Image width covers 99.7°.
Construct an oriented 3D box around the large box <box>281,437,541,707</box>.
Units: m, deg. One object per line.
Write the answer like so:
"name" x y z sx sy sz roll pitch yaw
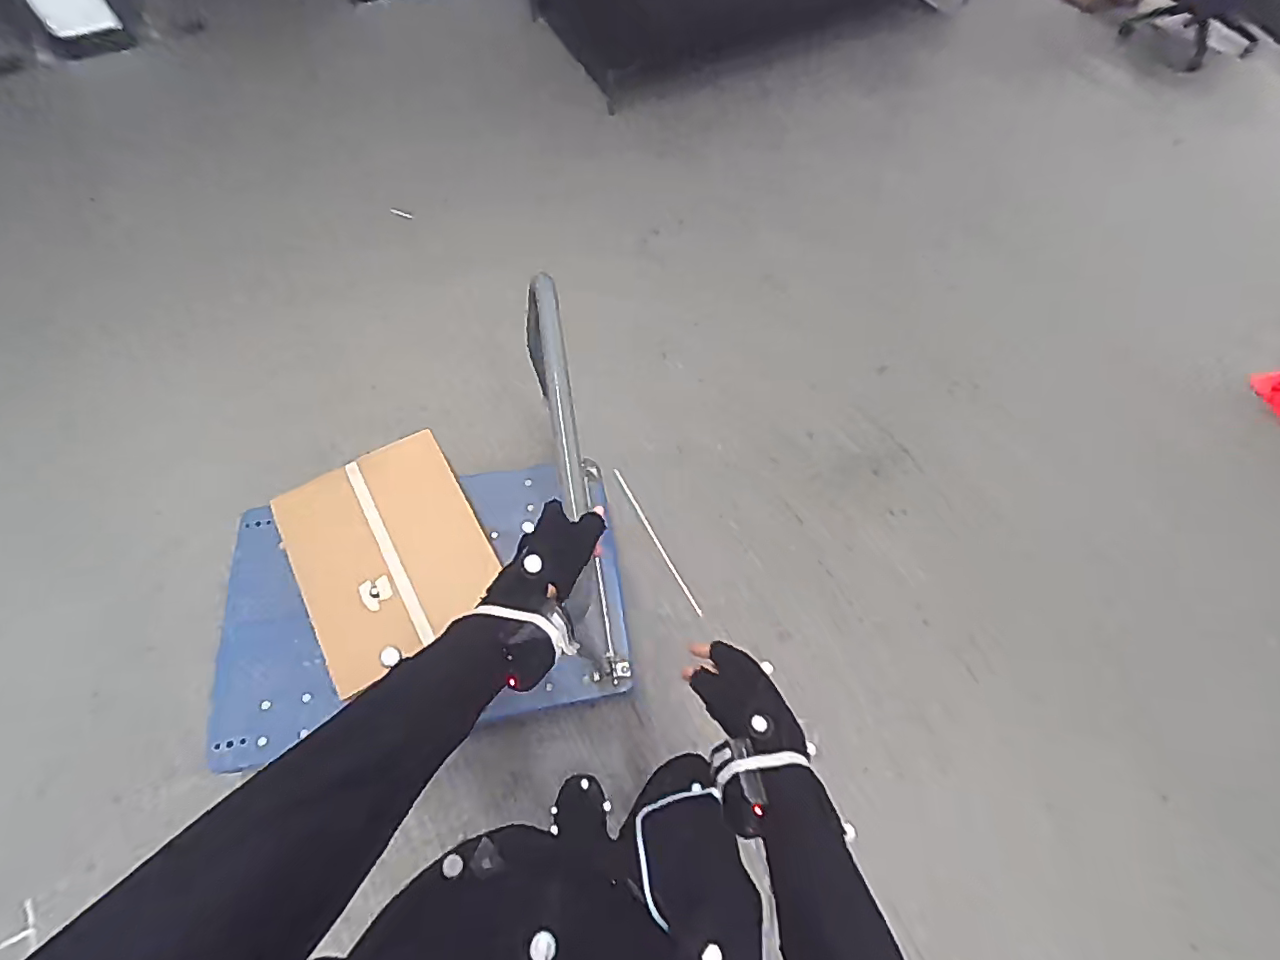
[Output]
"large box" -0.445 0.195 1.112 0.320 0.320 0.408 -29 69 -15
